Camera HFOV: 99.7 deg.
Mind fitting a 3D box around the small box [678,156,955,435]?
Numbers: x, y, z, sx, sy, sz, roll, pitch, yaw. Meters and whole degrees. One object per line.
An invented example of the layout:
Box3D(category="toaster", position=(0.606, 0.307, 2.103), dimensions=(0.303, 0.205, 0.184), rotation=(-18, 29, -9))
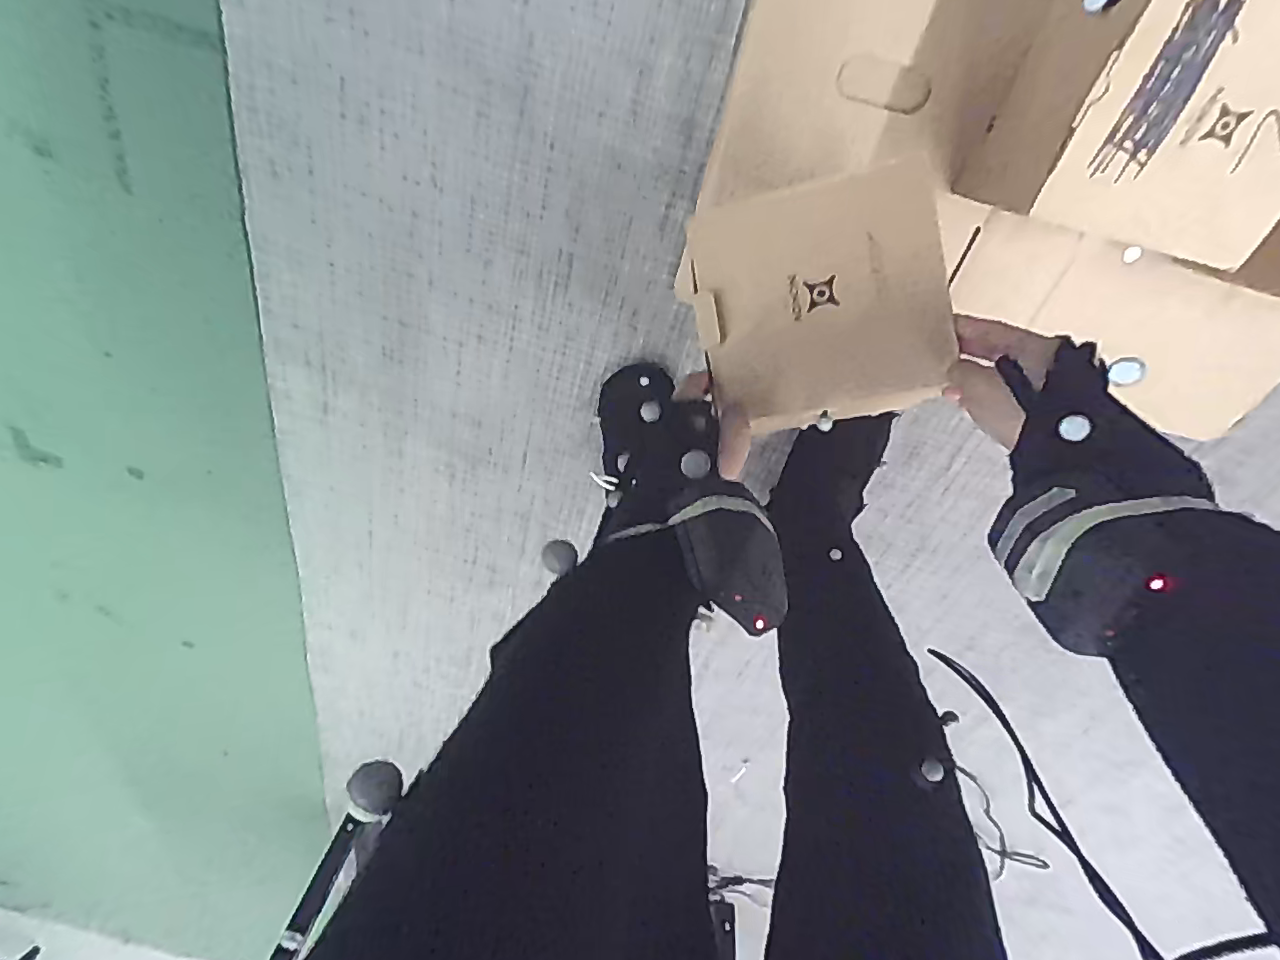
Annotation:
Box3D(category="small box", position=(0.145, -0.135, 0.474), dimensions=(0.179, 0.176, 0.168), rotation=(-10, 90, 14))

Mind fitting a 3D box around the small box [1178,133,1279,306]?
Box3D(category="small box", position=(0.639, -0.220, 0.455), dimensions=(0.179, 0.176, 0.168), rotation=(16, 124, -2))
